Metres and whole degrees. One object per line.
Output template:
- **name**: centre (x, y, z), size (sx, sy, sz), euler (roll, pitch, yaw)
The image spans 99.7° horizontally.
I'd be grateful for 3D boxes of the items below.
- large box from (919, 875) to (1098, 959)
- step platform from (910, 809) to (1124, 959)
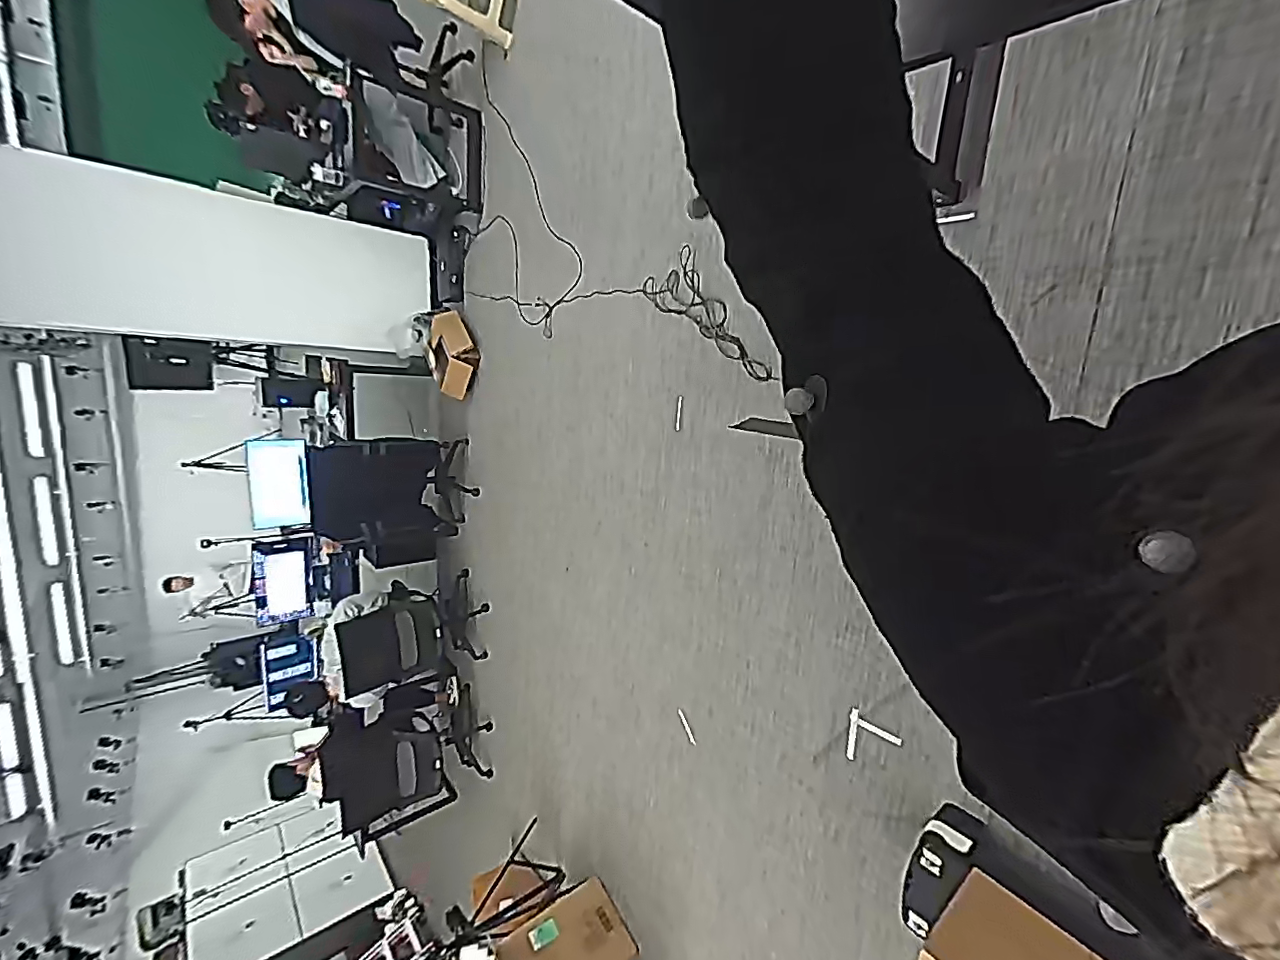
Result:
- **large box**: centre (0.781, 1.122, 1.065), size (0.408, 0.320, 0.320), euler (22, 111, 45)
- **step platform**: centre (0.980, 1.108, 1.199), size (0.684, 0.204, 0.286), euler (25, 113, 45)
